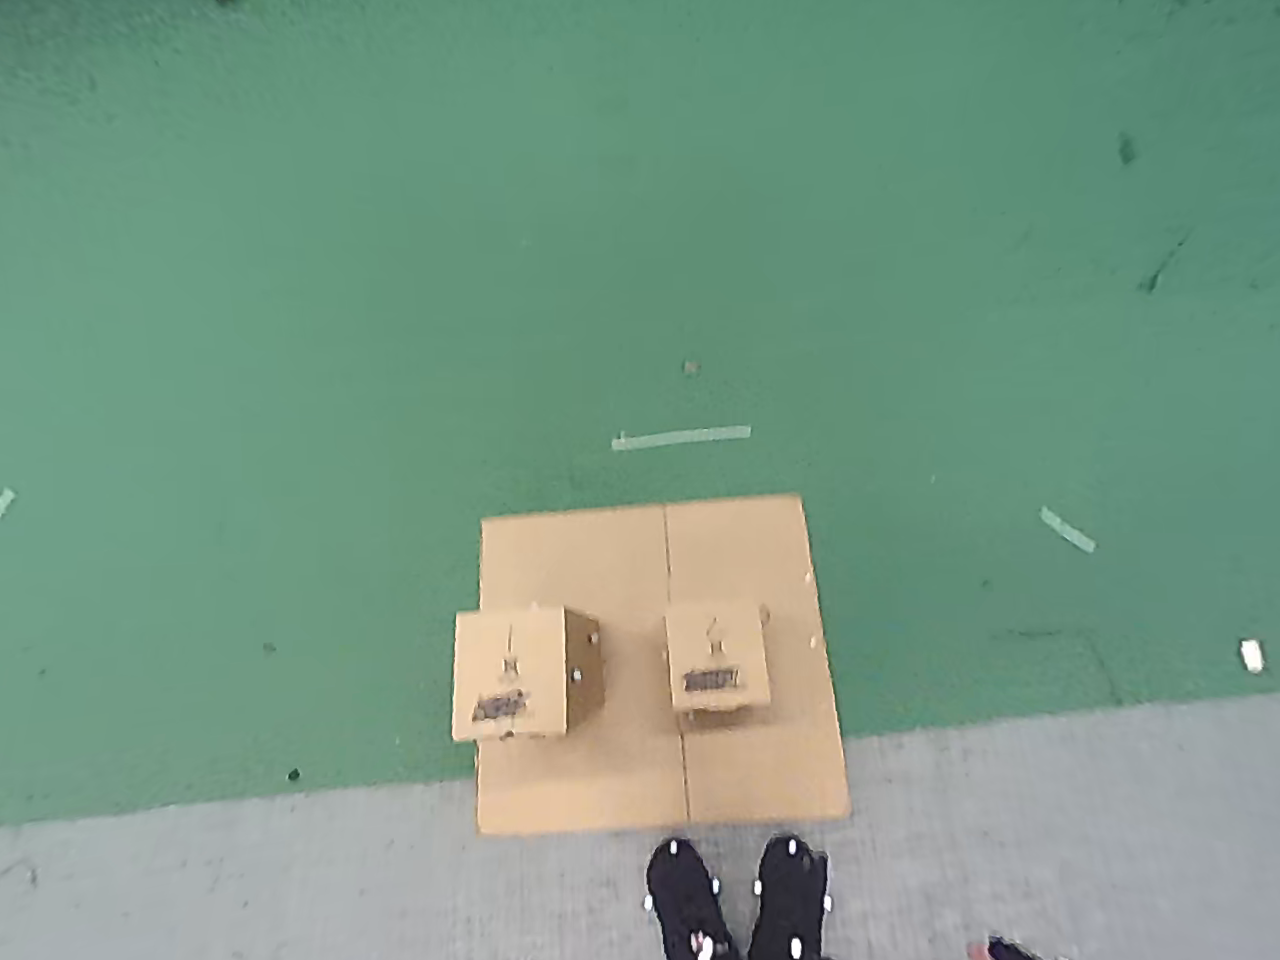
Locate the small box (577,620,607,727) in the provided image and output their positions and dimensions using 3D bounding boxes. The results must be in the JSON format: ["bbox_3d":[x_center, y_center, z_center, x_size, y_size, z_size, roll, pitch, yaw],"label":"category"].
[{"bbox_3d":[-0.158,0.362,1.006,0.168,0.176,0.179,-6,72,4],"label":"small box"}]

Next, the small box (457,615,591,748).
[{"bbox_3d":[-0.173,0.310,0.851,0.168,0.176,0.179,-5,71,4],"label":"small box"}]
